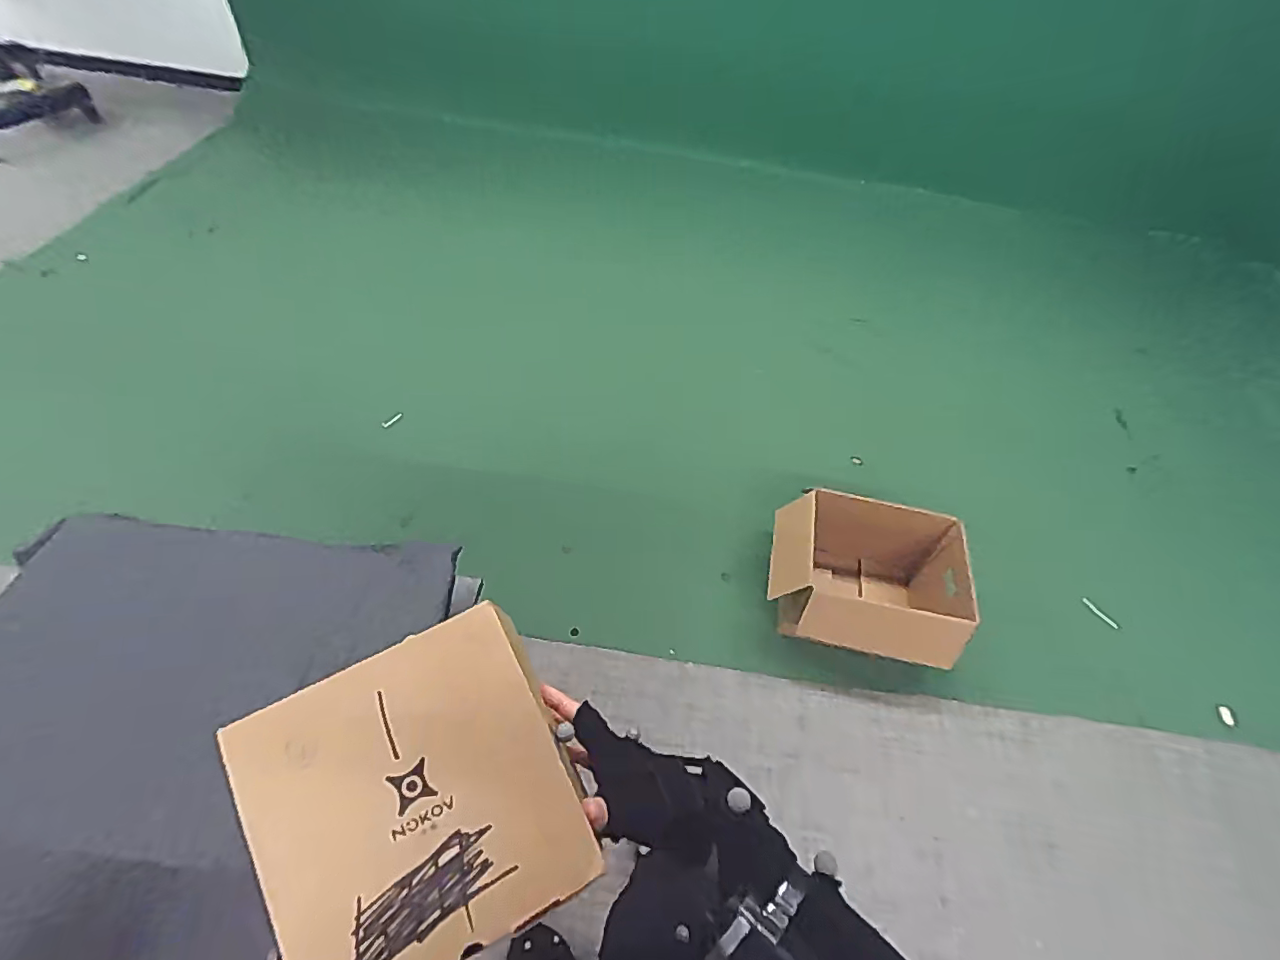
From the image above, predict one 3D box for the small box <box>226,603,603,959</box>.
[{"bbox_3d":[-0.140,0.207,0.386,0.168,0.176,0.179,-24,76,-16],"label":"small box"}]
